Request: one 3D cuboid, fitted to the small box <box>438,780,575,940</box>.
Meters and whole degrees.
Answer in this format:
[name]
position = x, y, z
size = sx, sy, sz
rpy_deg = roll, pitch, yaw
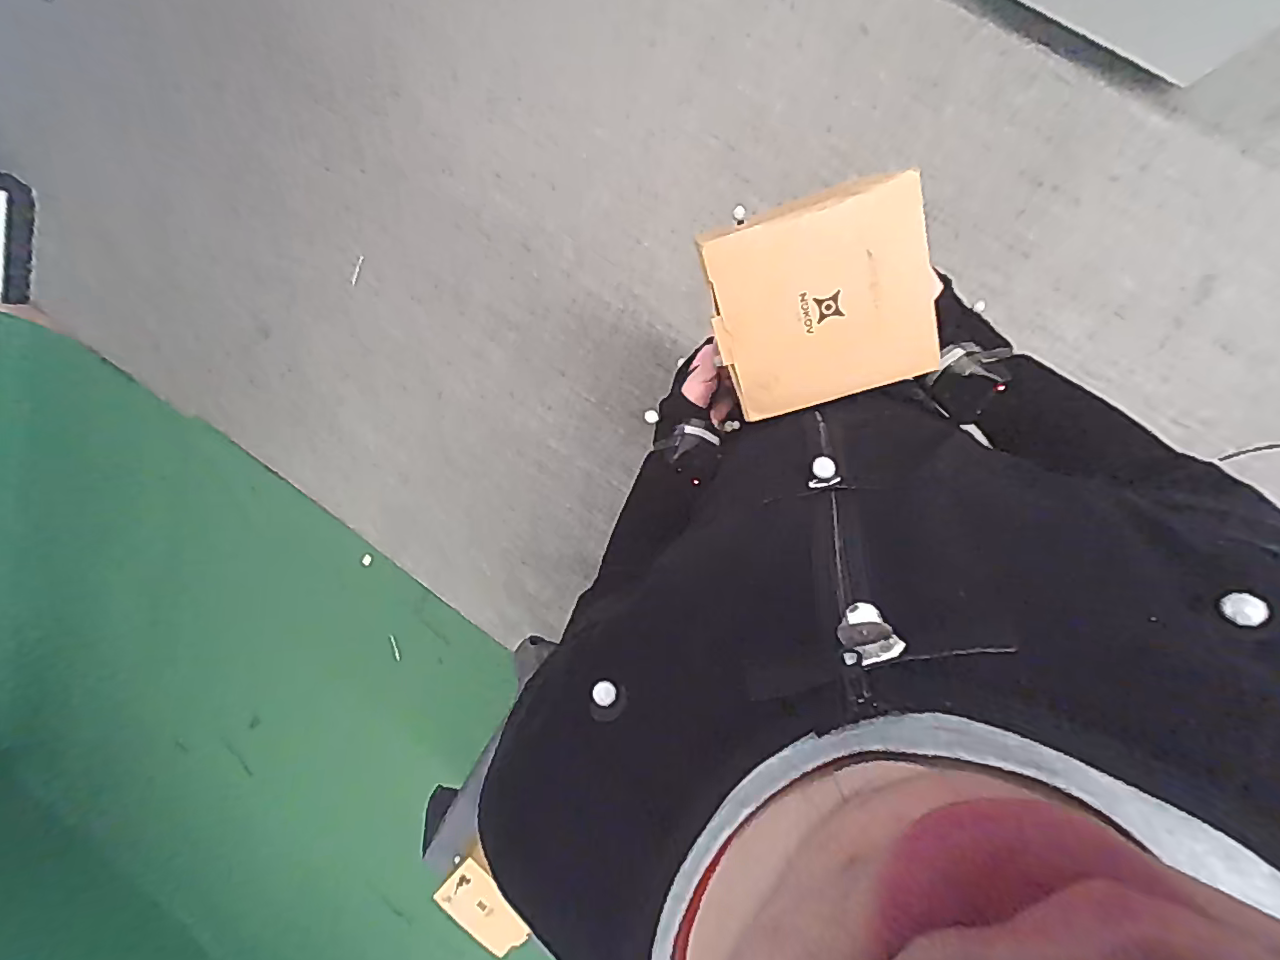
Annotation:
[small box]
position = -0.262, 0.760, 1.096
size = 0.179, 0.176, 0.168
rpy_deg = 39, 112, 3
